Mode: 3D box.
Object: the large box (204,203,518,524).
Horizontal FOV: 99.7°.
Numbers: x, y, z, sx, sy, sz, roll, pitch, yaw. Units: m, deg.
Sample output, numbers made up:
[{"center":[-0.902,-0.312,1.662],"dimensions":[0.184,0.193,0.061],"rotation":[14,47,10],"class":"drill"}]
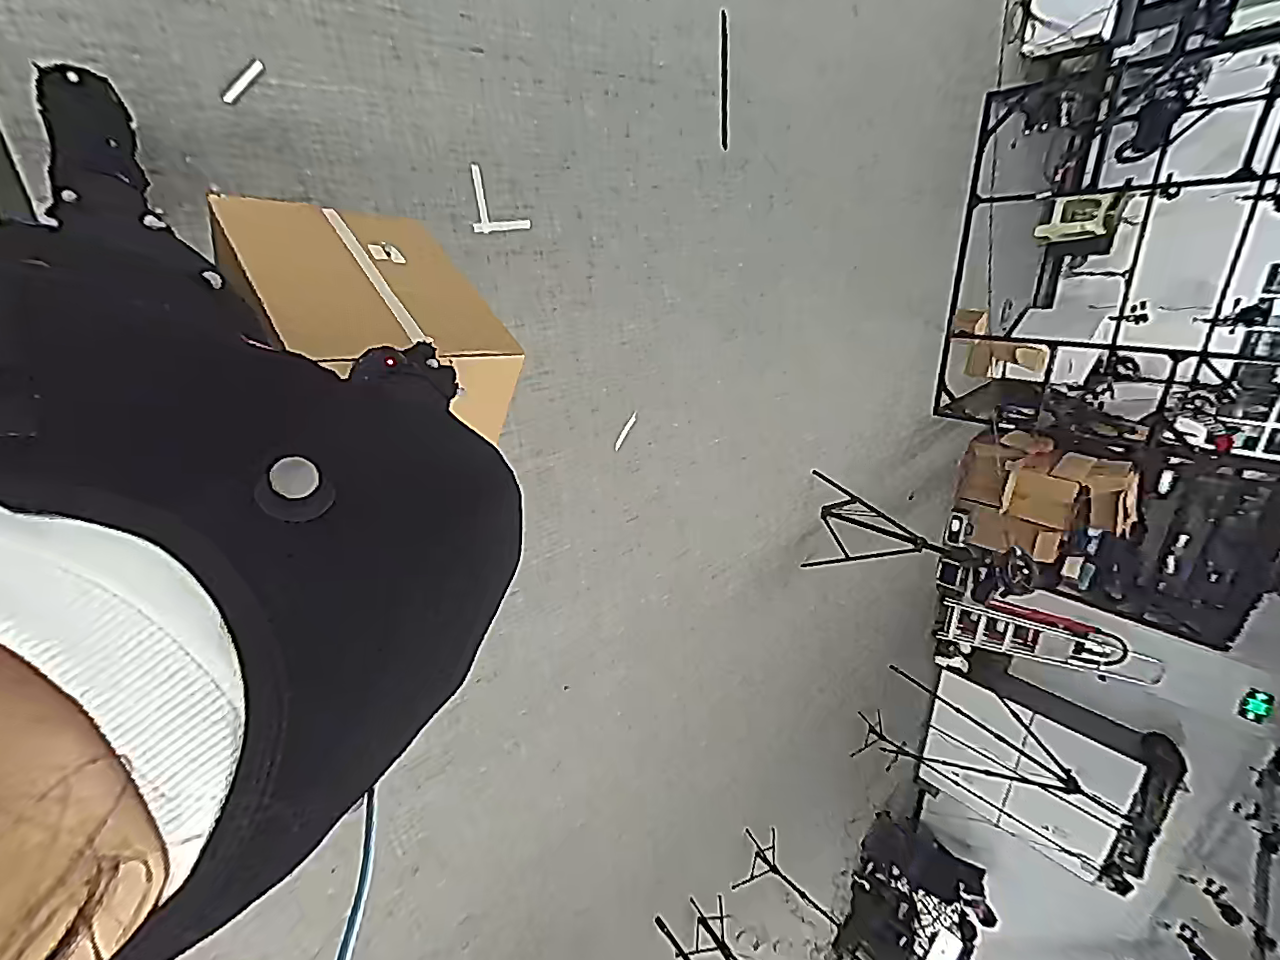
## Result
[{"center":[-0.467,-0.197,0.901],"dimensions":[0.320,0.408,0.320],"rotation":[-15,144,-45],"class":"large box"}]
